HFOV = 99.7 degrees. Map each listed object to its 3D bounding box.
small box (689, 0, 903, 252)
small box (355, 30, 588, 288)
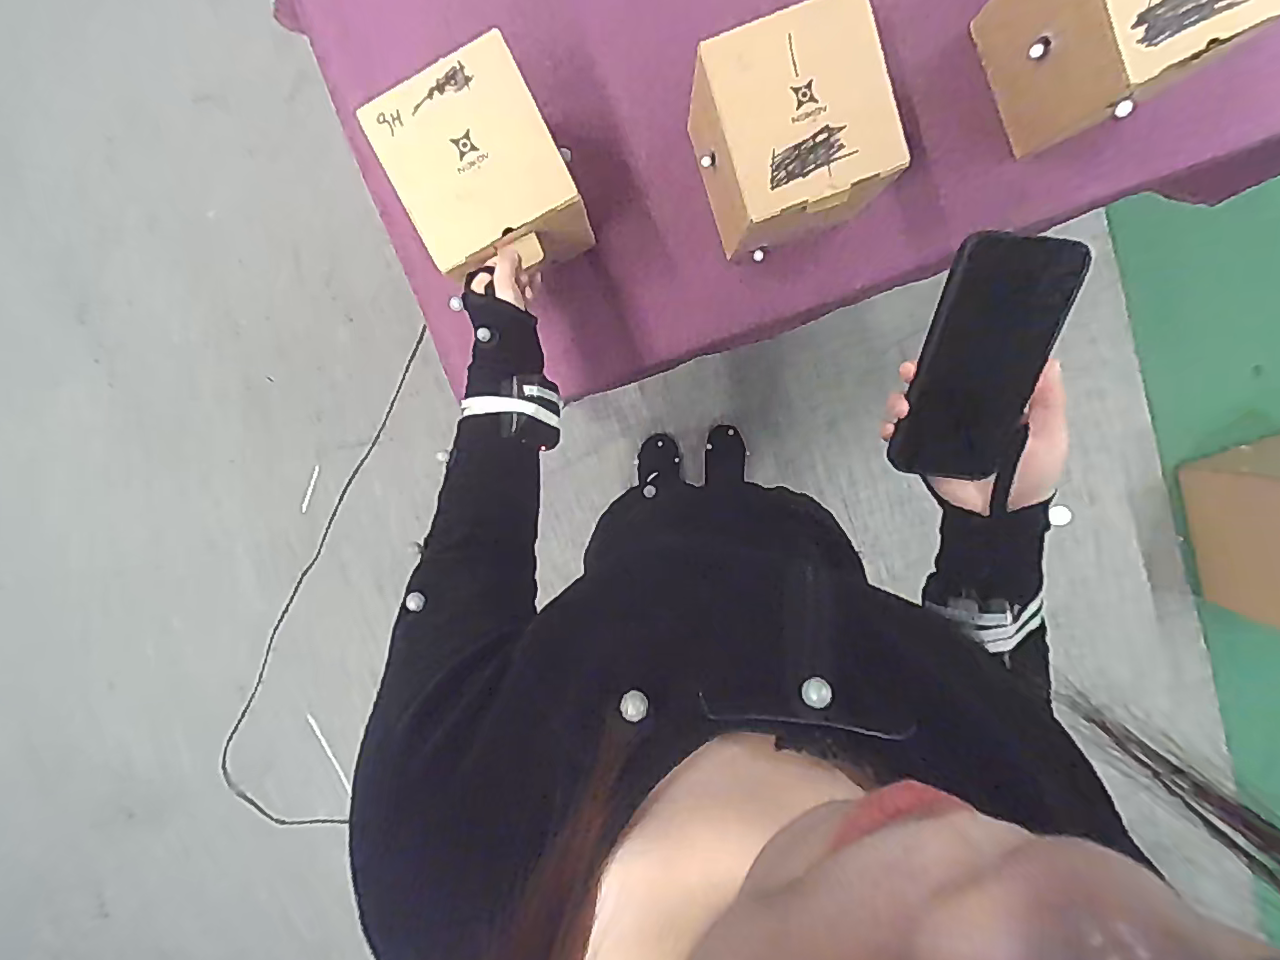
[{"bbox_3d":[0.159,-0.376,0.605,0.168,0.176,0.179,-19,97,4],"label":"small box"},{"bbox_3d":[-0.172,-0.338,0.619,0.168,0.176,0.179,-26,97,5],"label":"small box"}]
